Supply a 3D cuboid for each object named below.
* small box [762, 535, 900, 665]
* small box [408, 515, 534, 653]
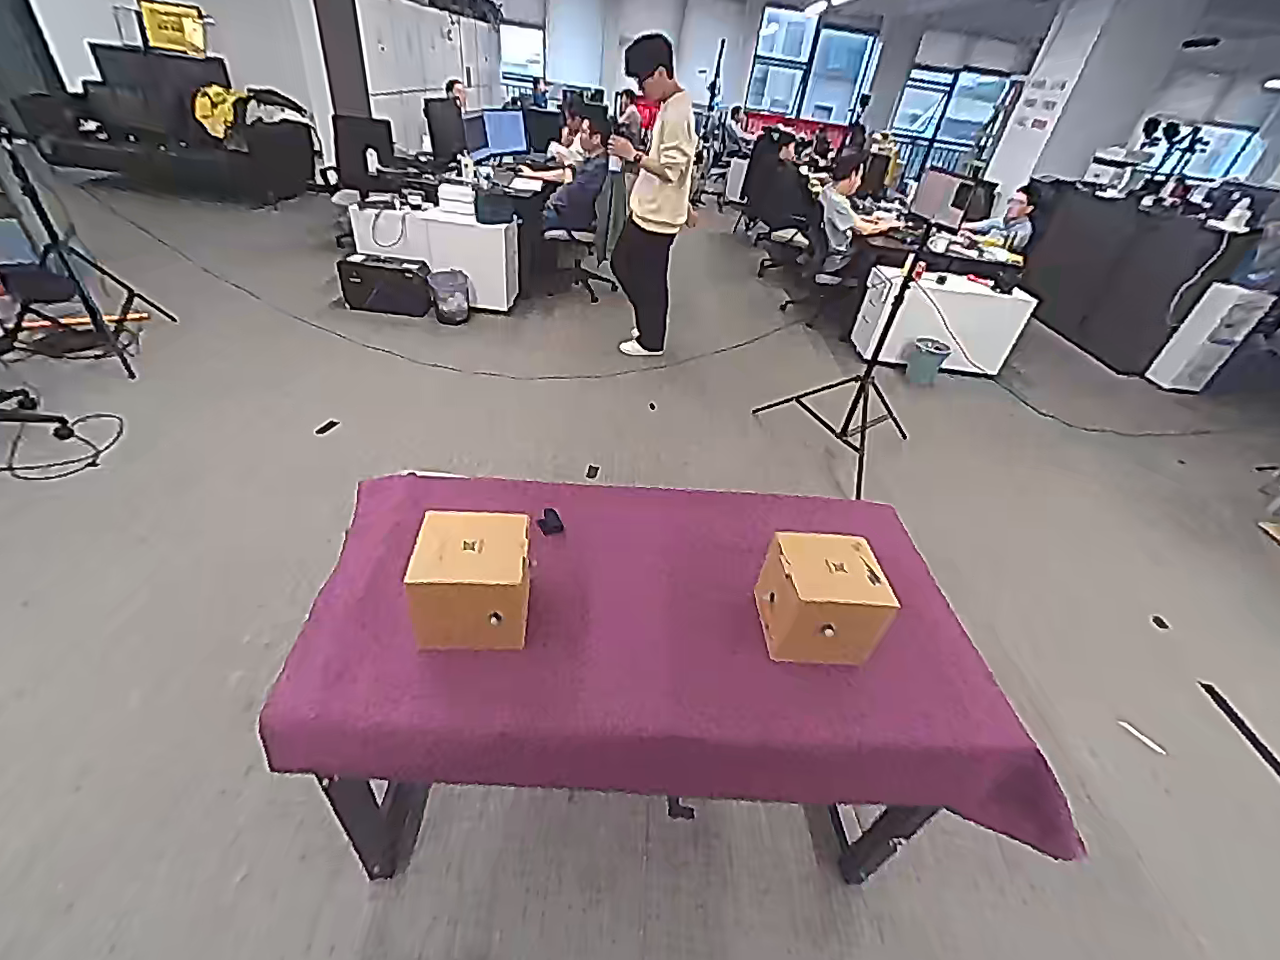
[{"bbox_3d":[0.331,0.219,0.983,0.179,0.176,0.168,3,36,-5],"label":"small box"},{"bbox_3d":[-0.275,0.178,0.923,0.179,0.176,0.168,1,36,-8],"label":"small box"}]
